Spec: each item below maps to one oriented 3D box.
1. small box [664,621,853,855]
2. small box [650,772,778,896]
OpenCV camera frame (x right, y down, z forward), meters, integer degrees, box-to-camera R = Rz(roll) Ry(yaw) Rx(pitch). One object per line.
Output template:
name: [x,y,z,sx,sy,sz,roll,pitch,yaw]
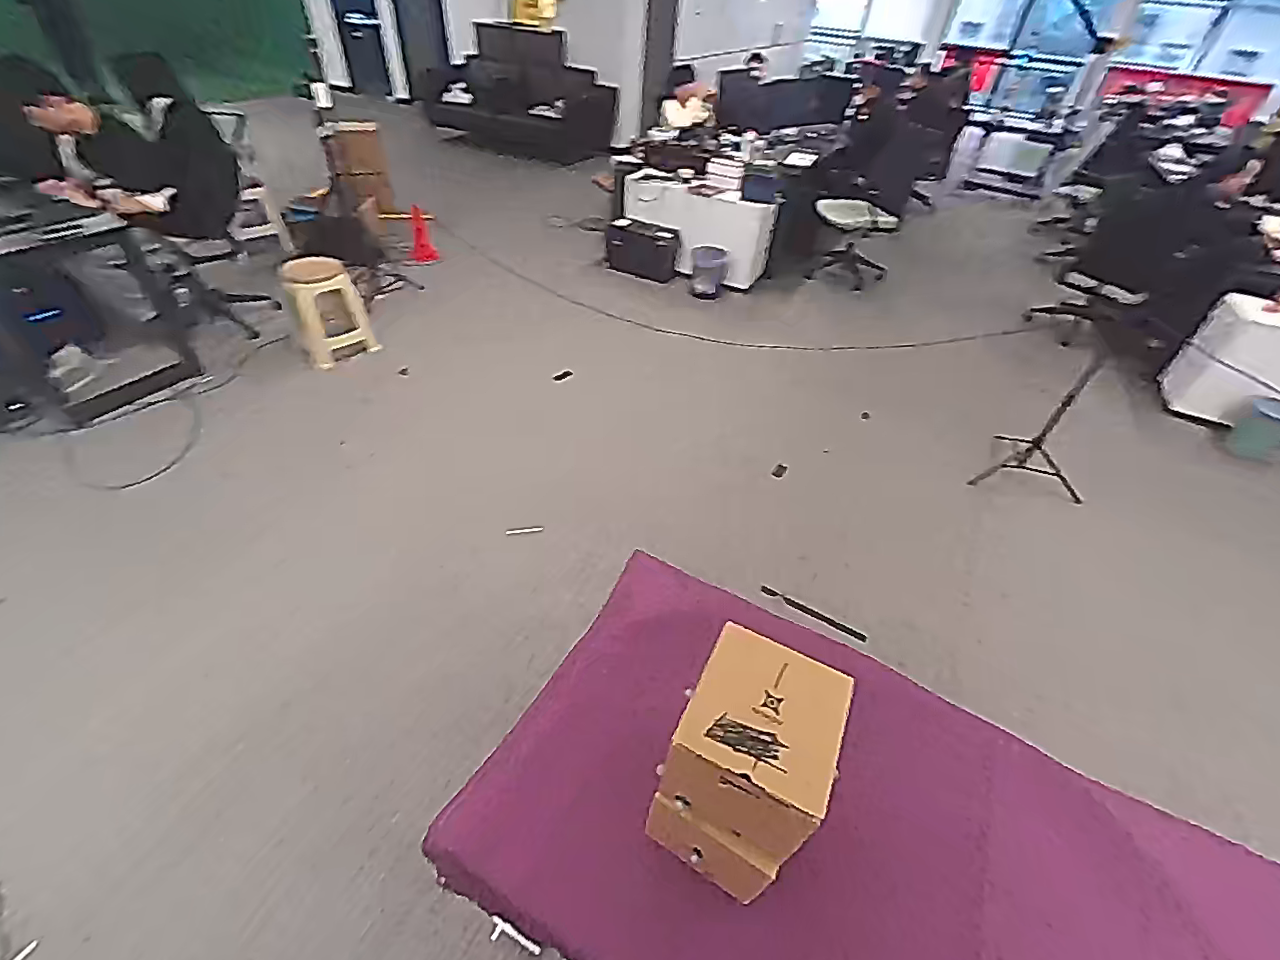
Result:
small box: [0.139,0.319,0.670,0.168,0.176,0.179,23,45,17]
small box: [0.125,0.447,0.773,0.168,0.176,0.179,26,47,20]
